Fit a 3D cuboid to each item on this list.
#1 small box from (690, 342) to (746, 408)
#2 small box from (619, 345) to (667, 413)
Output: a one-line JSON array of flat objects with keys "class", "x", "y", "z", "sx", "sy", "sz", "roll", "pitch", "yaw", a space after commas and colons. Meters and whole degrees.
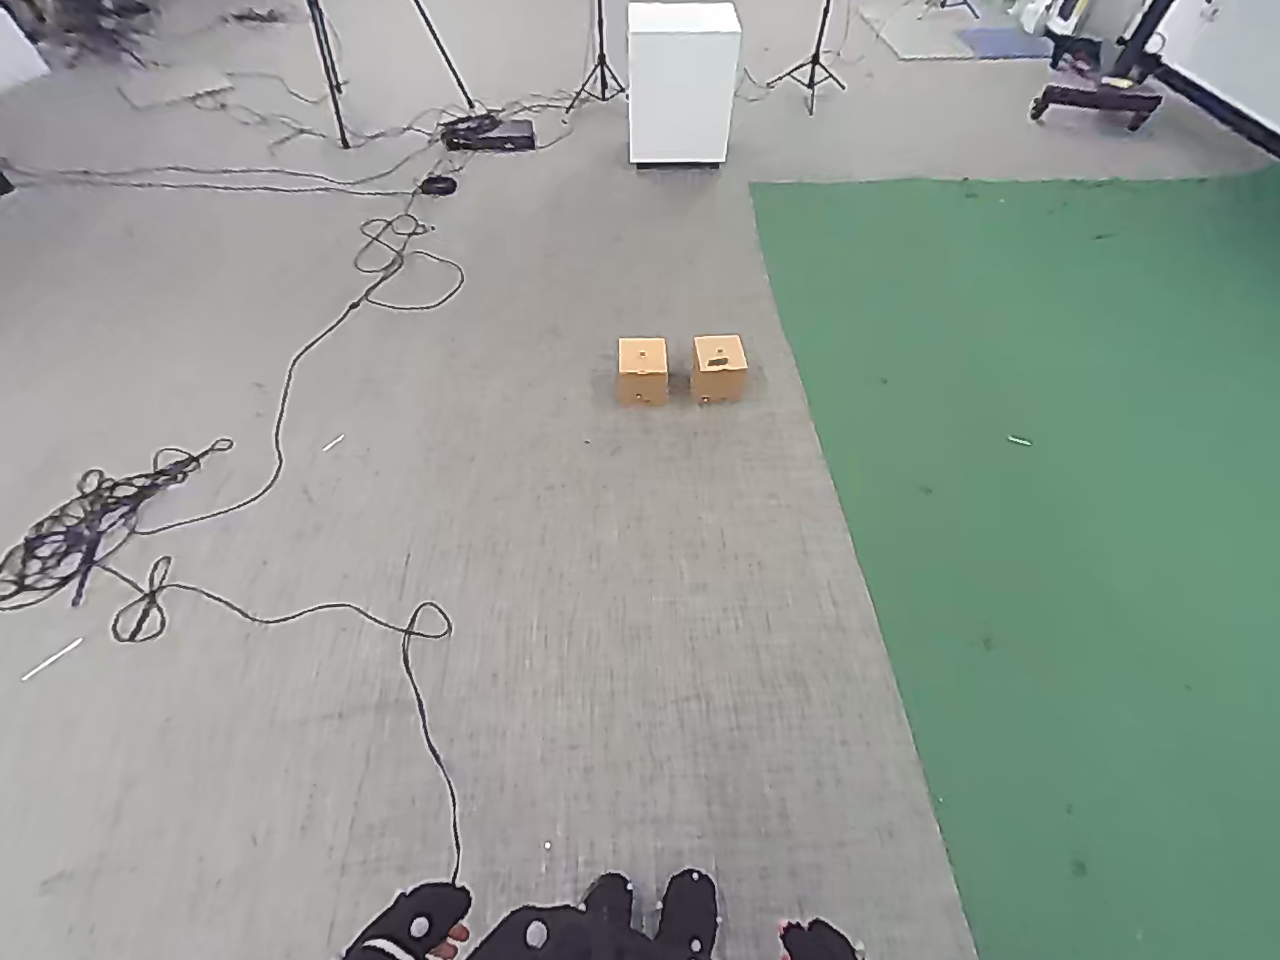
[{"class": "small box", "x": 0.276, "y": -0.372, "z": 1.946, "sx": 0.168, "sy": 0.176, "sz": 0.179, "roll": -3, "pitch": 55, "yaw": -3}, {"class": "small box", "x": 0.008, "y": -0.363, "z": 1.936, "sx": 0.168, "sy": 0.176, "sz": 0.179, "roll": -1, "pitch": 55, "yaw": -2}]
